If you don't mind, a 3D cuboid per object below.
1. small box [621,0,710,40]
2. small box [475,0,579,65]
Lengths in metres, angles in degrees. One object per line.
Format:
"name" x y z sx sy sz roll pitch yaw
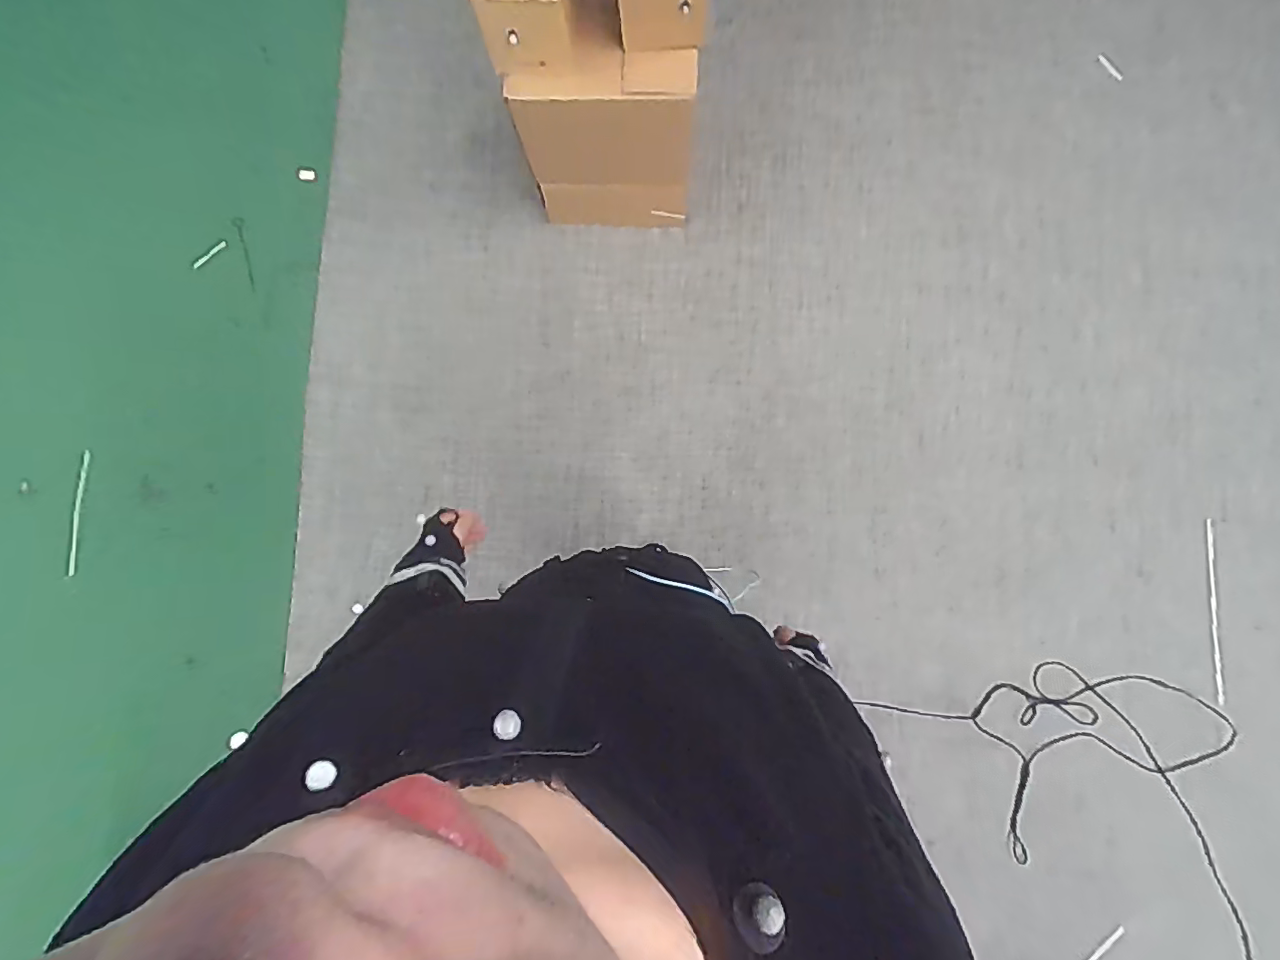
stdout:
"small box" 0.052 -1.000 1.050 0.179 0.176 0.168 1 85 3
"small box" -0.214 -0.956 1.053 0.168 0.176 0.179 4 86 1
